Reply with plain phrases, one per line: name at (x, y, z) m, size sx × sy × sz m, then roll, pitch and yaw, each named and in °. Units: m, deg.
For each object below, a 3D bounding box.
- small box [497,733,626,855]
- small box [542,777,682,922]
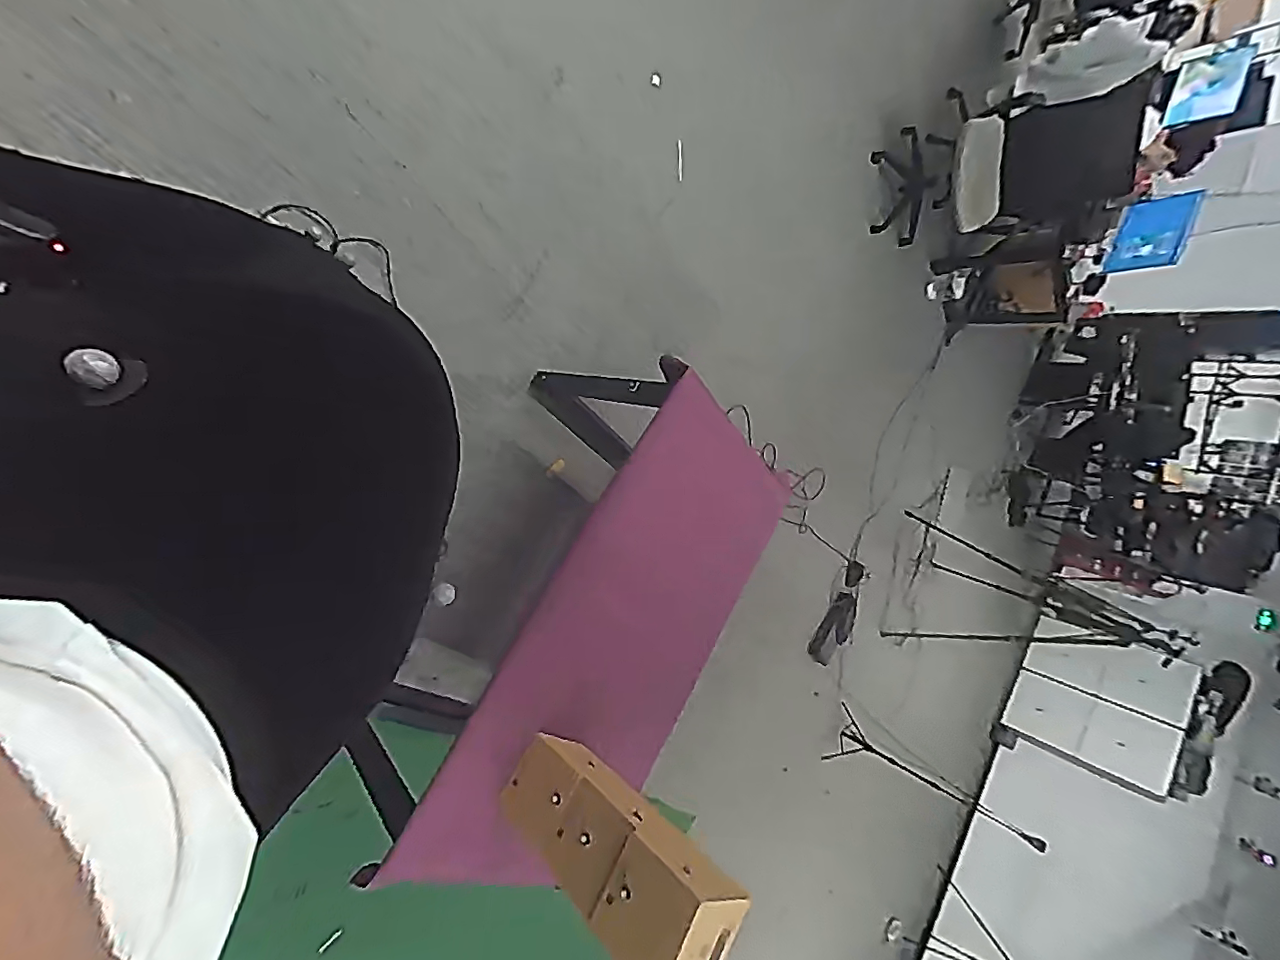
small box at (-0.169, 0.674, 1.166) m, size 0.179 × 0.176 × 0.168 m, roll 42°, pitch 72°, yaw -42°
small box at (-0.057, 0.709, 1.048) m, size 0.179 × 0.176 × 0.168 m, roll 44°, pitch 72°, yaw -41°
